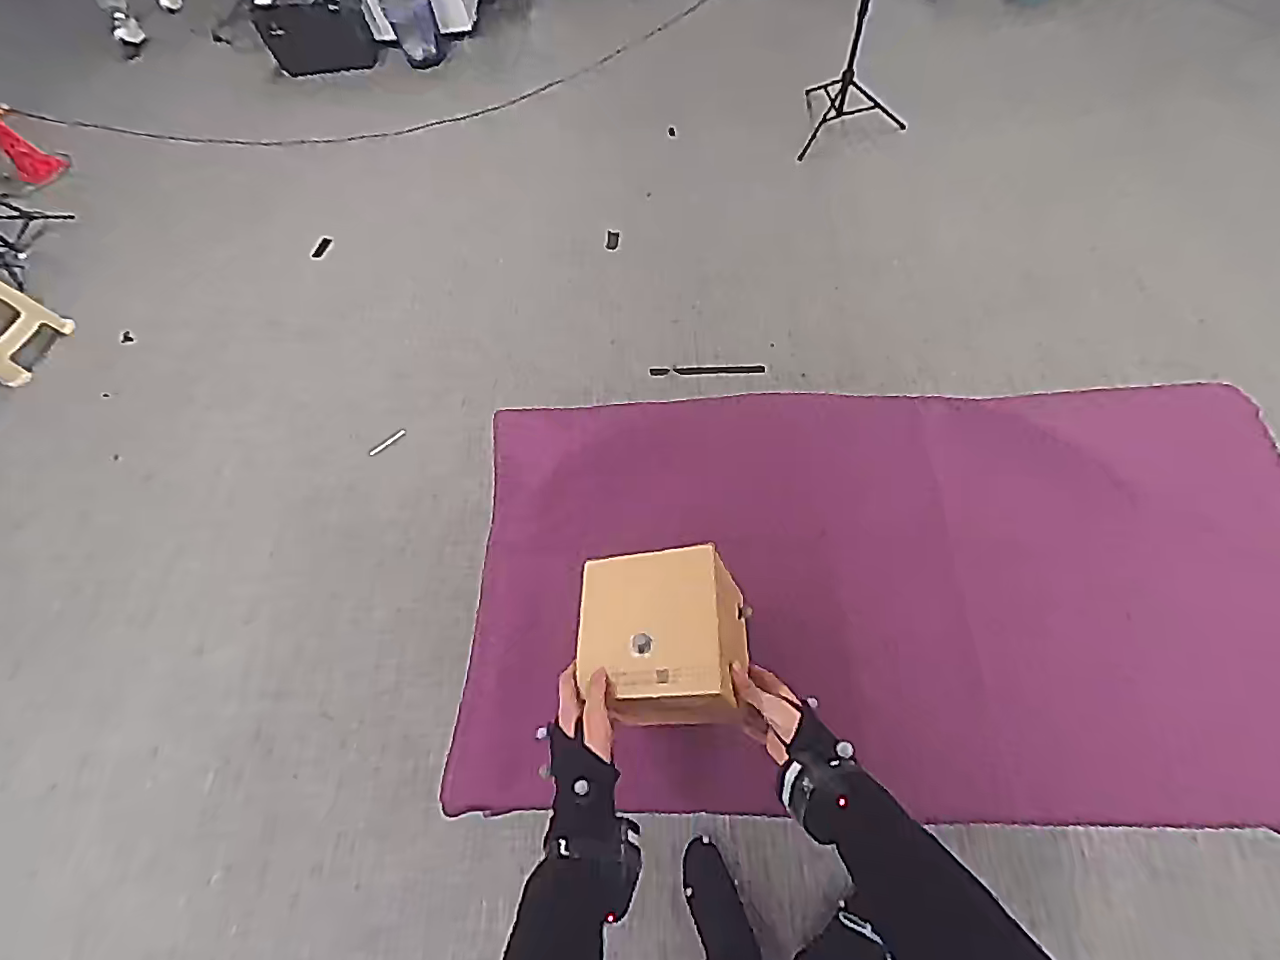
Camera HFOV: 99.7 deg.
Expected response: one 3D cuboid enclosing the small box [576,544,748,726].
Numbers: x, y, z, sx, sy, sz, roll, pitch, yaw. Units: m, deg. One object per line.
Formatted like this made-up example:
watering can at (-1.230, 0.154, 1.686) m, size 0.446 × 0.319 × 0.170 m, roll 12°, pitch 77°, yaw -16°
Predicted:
small box at (0.032, 0.199, 0.662) m, size 0.168 × 0.179 × 0.176 m, roll -11°, pitch 55°, yaw 20°
